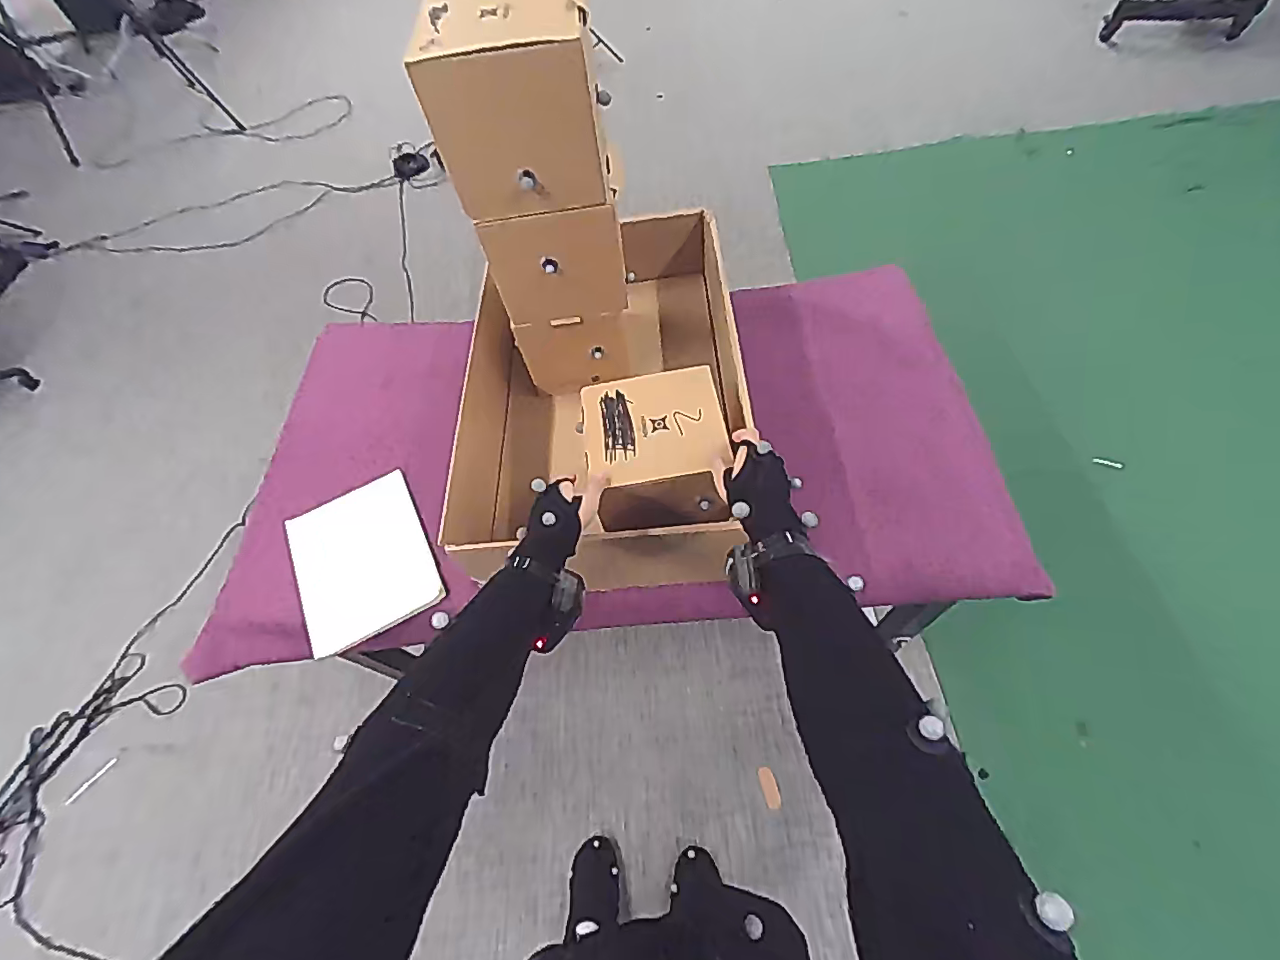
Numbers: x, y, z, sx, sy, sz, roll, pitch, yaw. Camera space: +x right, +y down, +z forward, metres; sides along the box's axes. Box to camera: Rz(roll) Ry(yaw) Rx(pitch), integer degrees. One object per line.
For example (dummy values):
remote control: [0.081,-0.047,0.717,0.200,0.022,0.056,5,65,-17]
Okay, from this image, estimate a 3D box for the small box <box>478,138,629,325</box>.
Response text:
small box: [-0.110,-0.343,0.761,0.179,0.176,0.168,-7,59,2]

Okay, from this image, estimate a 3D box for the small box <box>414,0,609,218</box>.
small box: [-0.129,-0.430,0.623,0.179,0.176,0.168,-5,59,2]
